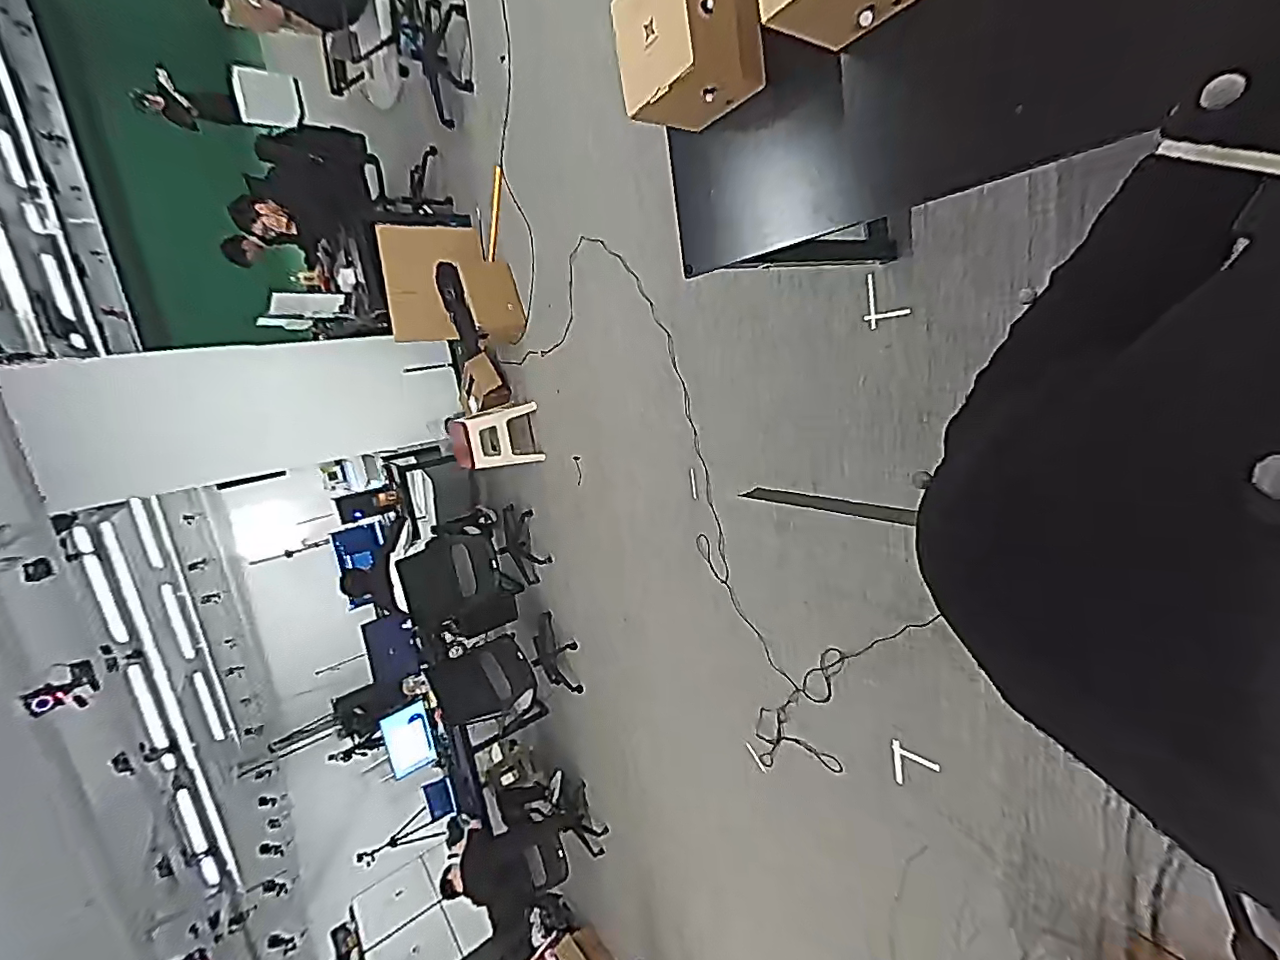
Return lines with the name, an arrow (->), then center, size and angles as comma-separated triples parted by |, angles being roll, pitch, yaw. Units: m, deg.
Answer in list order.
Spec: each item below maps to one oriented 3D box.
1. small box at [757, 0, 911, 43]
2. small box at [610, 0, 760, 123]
small box -> 0.250, -0.677, 0.648 | 0.168, 0.176, 0.179 | 7, 110, 53
small box -> 0.077, -0.709, 0.875 | 0.168, 0.176, 0.179 | 4, 107, 52
